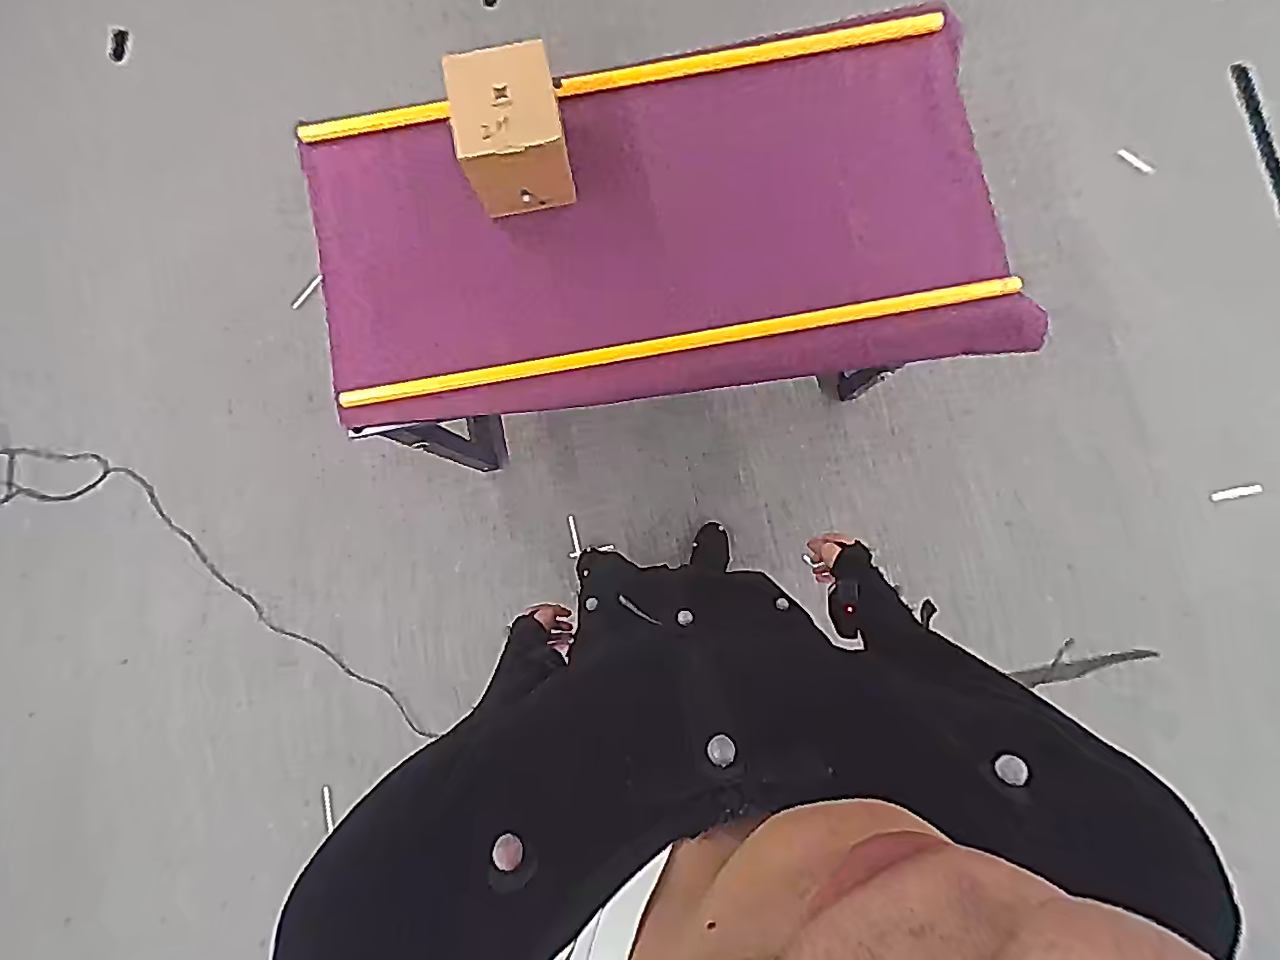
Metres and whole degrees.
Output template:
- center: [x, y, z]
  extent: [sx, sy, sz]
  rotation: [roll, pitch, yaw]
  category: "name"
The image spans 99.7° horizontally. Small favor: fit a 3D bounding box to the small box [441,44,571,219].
- center: [-0.220, -0.585, 0.925]
  extent: [0.168, 0.176, 0.179]
  rotation: [-10, 86, 0]
  category: "small box"
